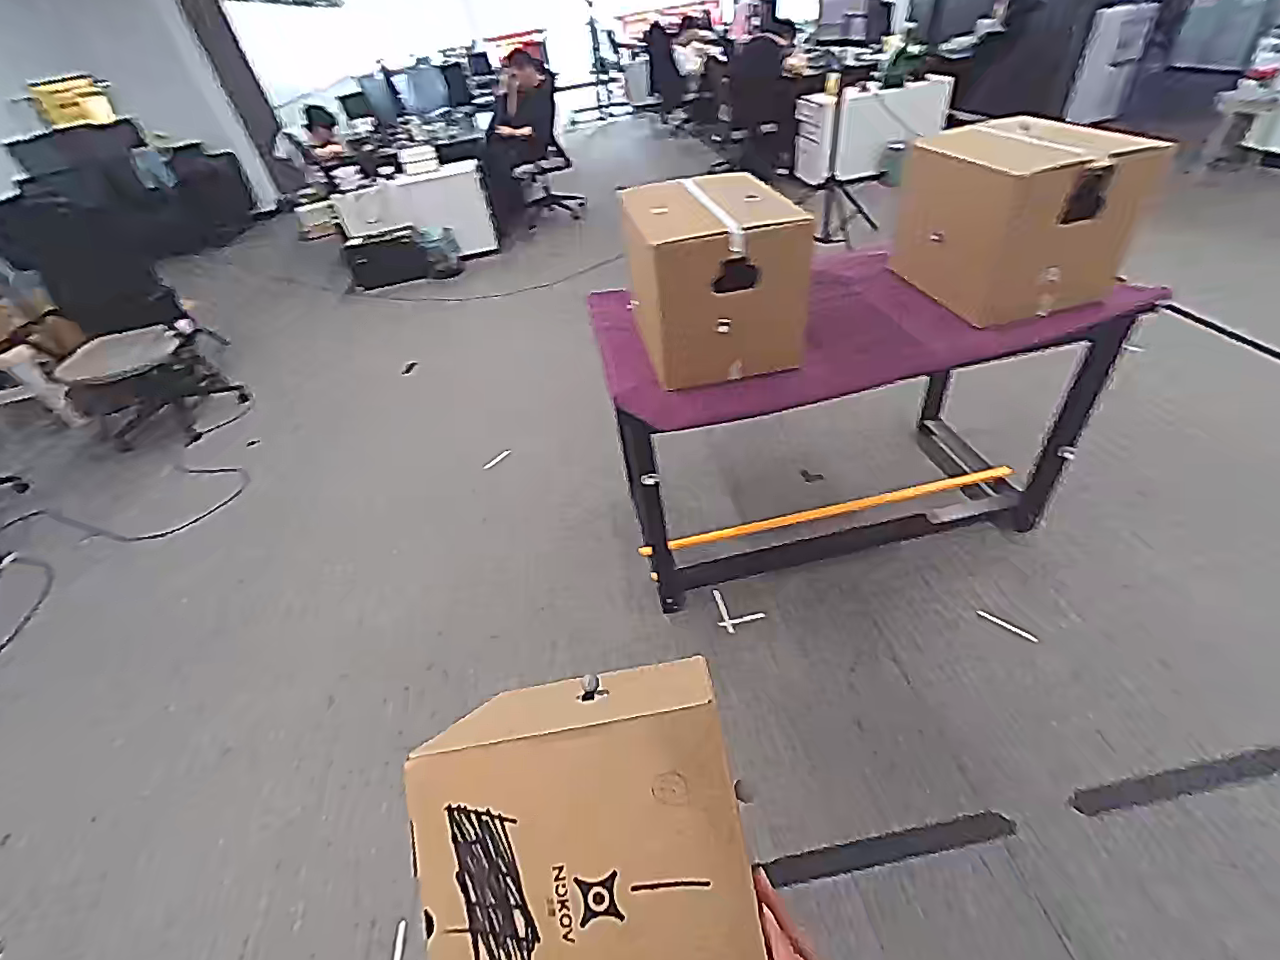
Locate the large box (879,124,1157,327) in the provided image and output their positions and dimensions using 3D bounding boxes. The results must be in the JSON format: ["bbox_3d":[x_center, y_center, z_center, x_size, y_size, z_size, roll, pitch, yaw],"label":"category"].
[{"bbox_3d":[0.822,-0.602,1.261,0.320,0.320,0.408,-13,40,-4],"label":"large box"}]

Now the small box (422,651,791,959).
[{"bbox_3d":[-0.014,0.217,0.352,0.179,0.176,0.168,-11,80,2],"label":"small box"}]
